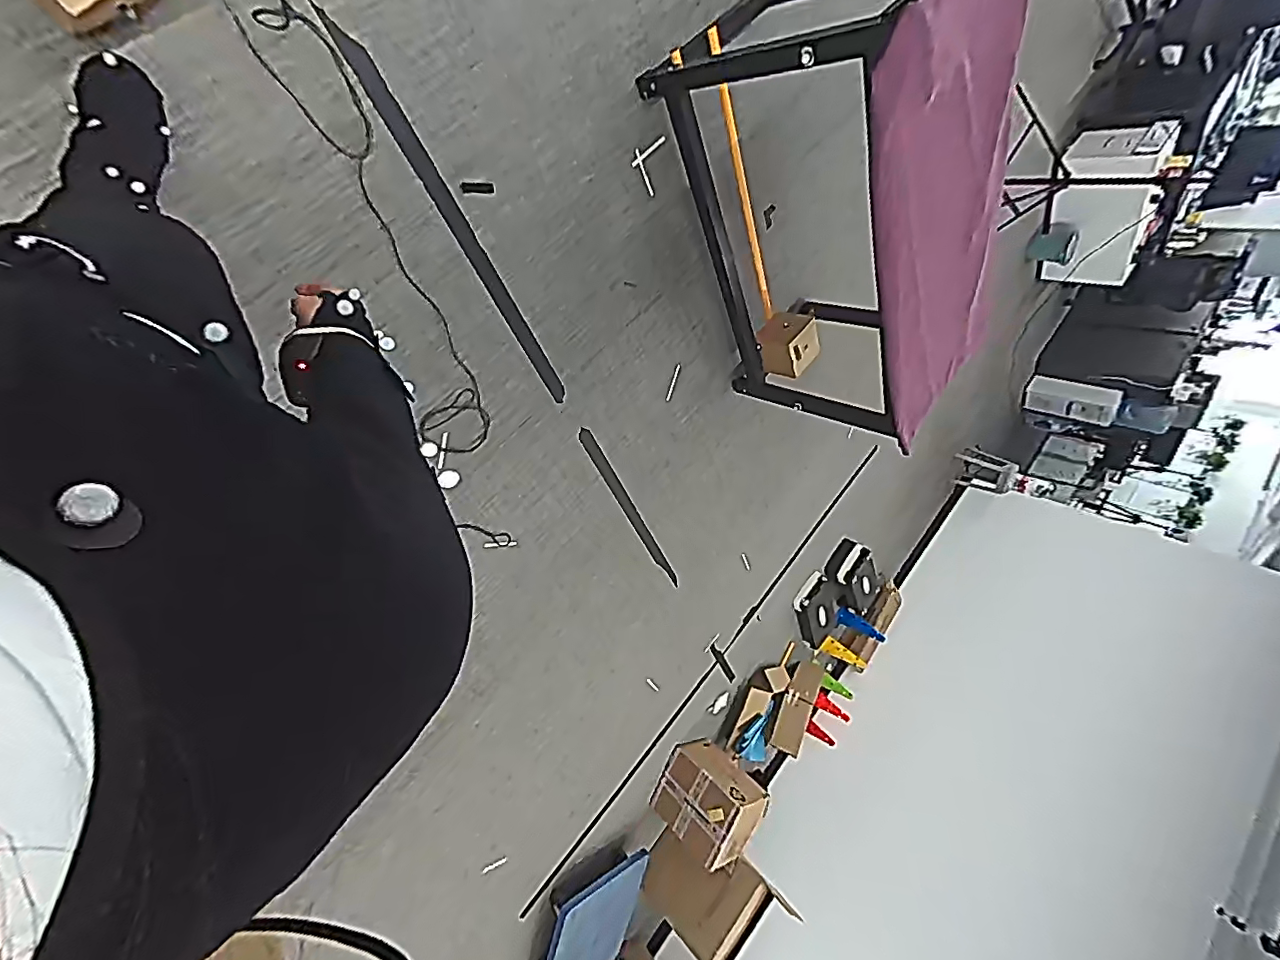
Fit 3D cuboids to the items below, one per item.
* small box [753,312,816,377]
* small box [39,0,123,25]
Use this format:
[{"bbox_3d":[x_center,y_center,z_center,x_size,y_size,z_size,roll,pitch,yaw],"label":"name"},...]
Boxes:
[{"bbox_3d":[0.556,-0.529,2.099,0.179,0.176,0.168,-47,136,-18],"label":"small box"},{"bbox_3d":[-0.799,-0.767,0.730,0.168,0.176,0.179,-48,138,-15],"label":"small box"}]
